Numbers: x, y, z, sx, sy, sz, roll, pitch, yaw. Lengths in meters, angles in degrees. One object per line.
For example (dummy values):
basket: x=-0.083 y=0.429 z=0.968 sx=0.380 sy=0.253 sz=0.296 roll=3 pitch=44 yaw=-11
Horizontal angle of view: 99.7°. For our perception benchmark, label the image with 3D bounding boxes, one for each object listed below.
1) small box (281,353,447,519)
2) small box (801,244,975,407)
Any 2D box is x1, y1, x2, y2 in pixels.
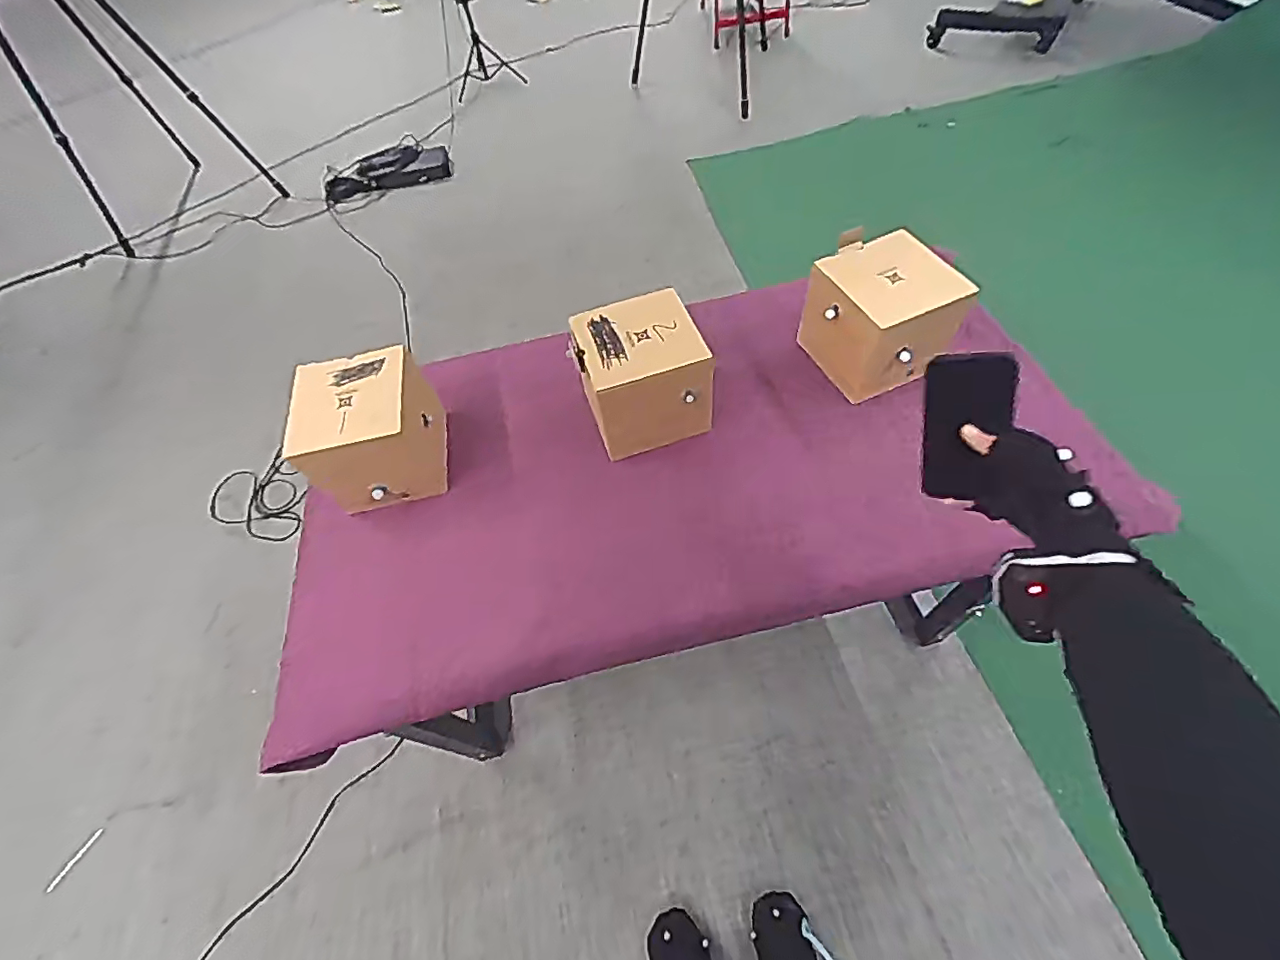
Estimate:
small box: x=-0.411 y=-0.065 z=0.840 sx=0.168 sy=0.176 sz=0.179 roll=-12 pitch=58 yaw=-2
small box: x=0.384 y=-0.239 z=0.873 sx=0.168 sy=0.176 sz=0.179 roll=-22 pitch=57 yaw=-8
